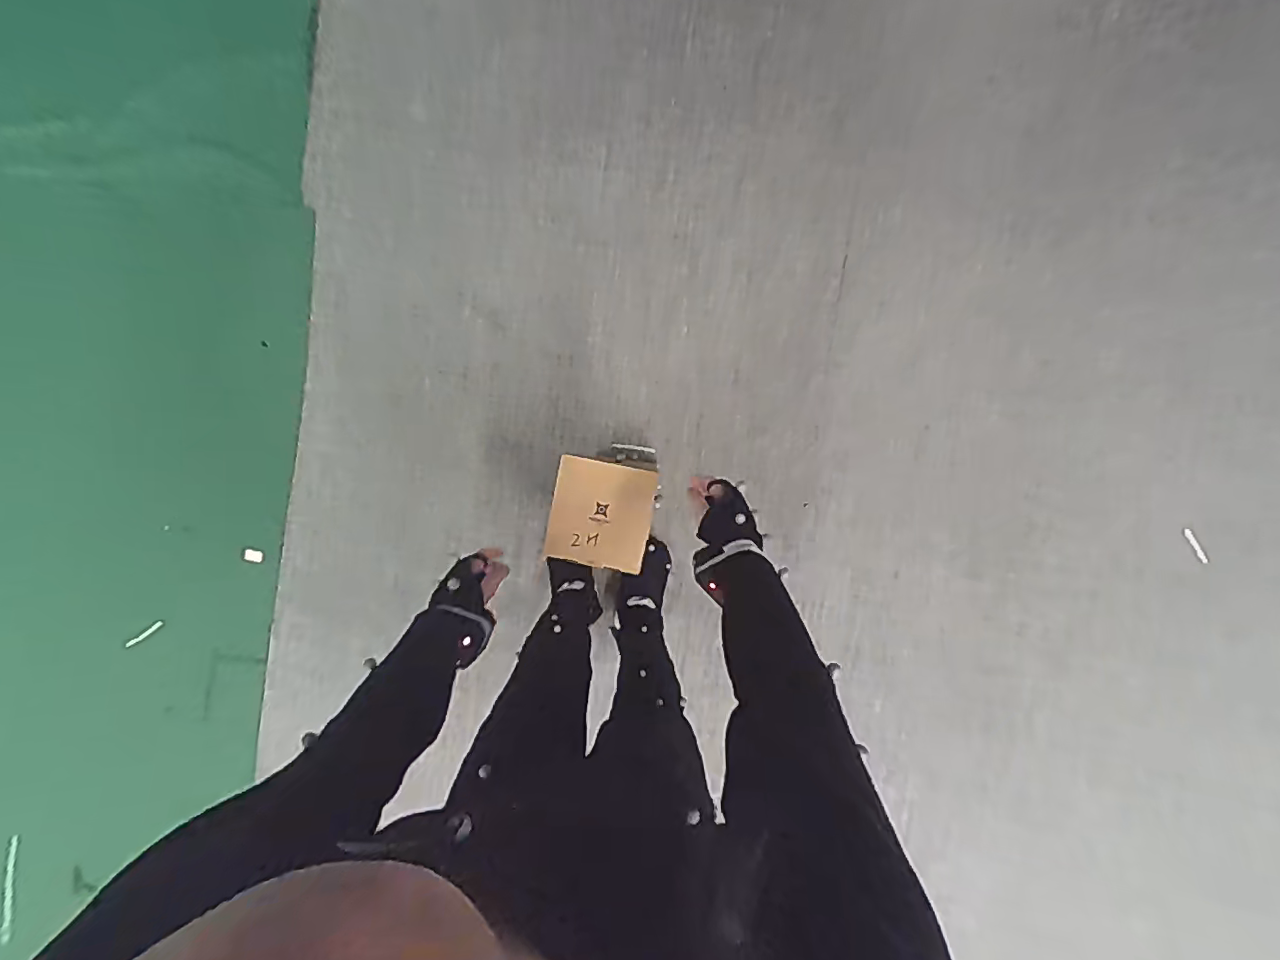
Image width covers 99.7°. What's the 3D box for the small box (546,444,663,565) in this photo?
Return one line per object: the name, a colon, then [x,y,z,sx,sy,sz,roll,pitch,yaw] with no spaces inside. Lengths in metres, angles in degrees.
small box: [-0.058,0.036,0.971,0.168,0.176,0.179,12,94,1]
